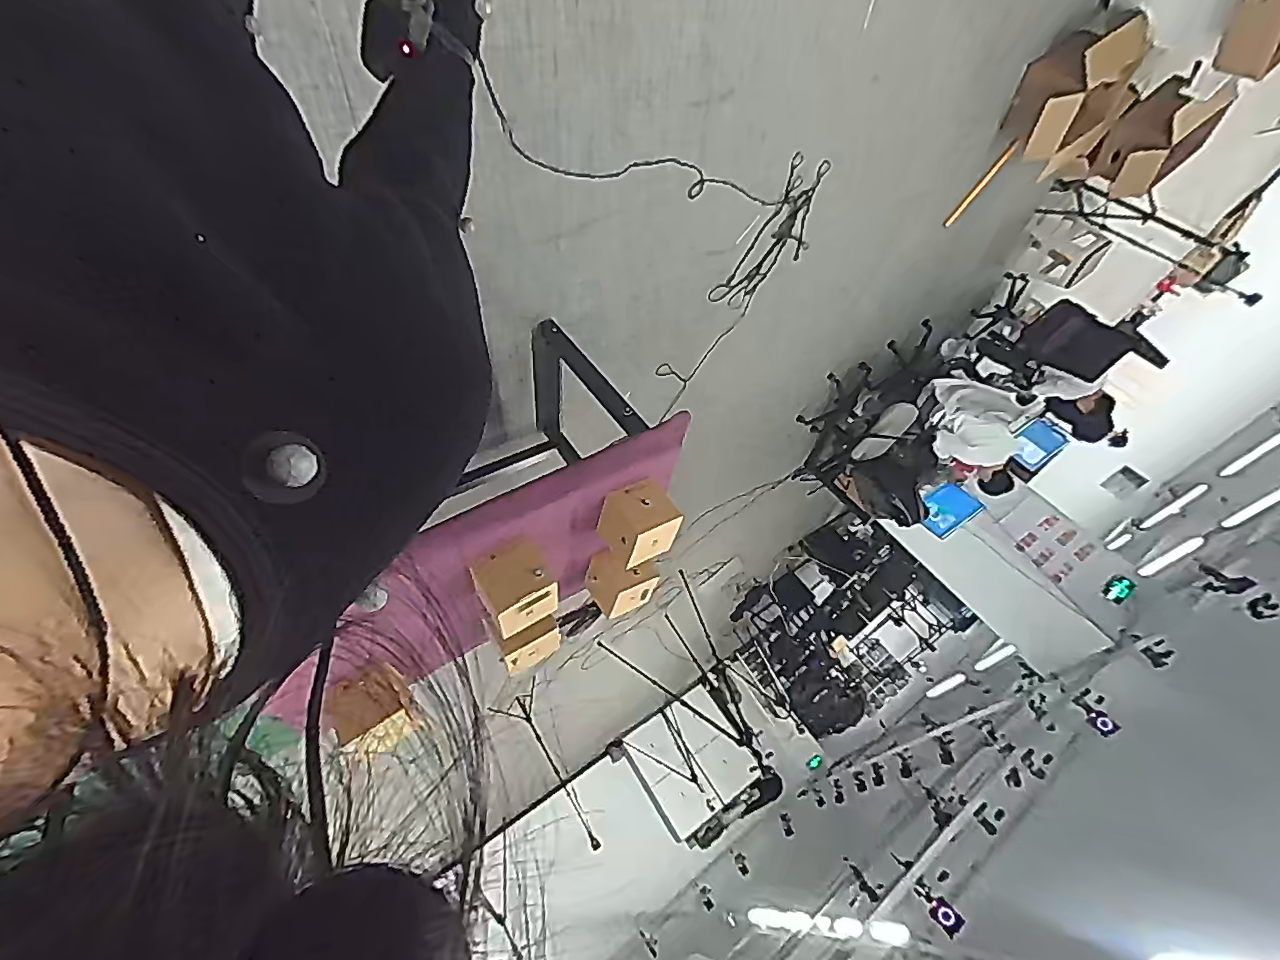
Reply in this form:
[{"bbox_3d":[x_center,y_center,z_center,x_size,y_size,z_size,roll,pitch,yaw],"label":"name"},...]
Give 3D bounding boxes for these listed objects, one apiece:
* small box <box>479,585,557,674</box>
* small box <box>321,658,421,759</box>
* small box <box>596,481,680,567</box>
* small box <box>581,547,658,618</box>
[{"bbox_3d":[-0.372,0.454,1.658,0.179,0.176,0.168,-27,148,-26],"label":"small box"},{"bbox_3d":[-0.721,0.611,1.455,0.168,0.176,0.179,-30,150,-22],"label":"small box"},{"bbox_3d":[-0.013,0.122,1.607,0.168,0.176,0.179,-20,147,-32],"label":"small box"},{"bbox_3d":[-0.074,0.330,1.842,0.179,0.176,0.168,-17,144,-35],"label":"small box"}]
